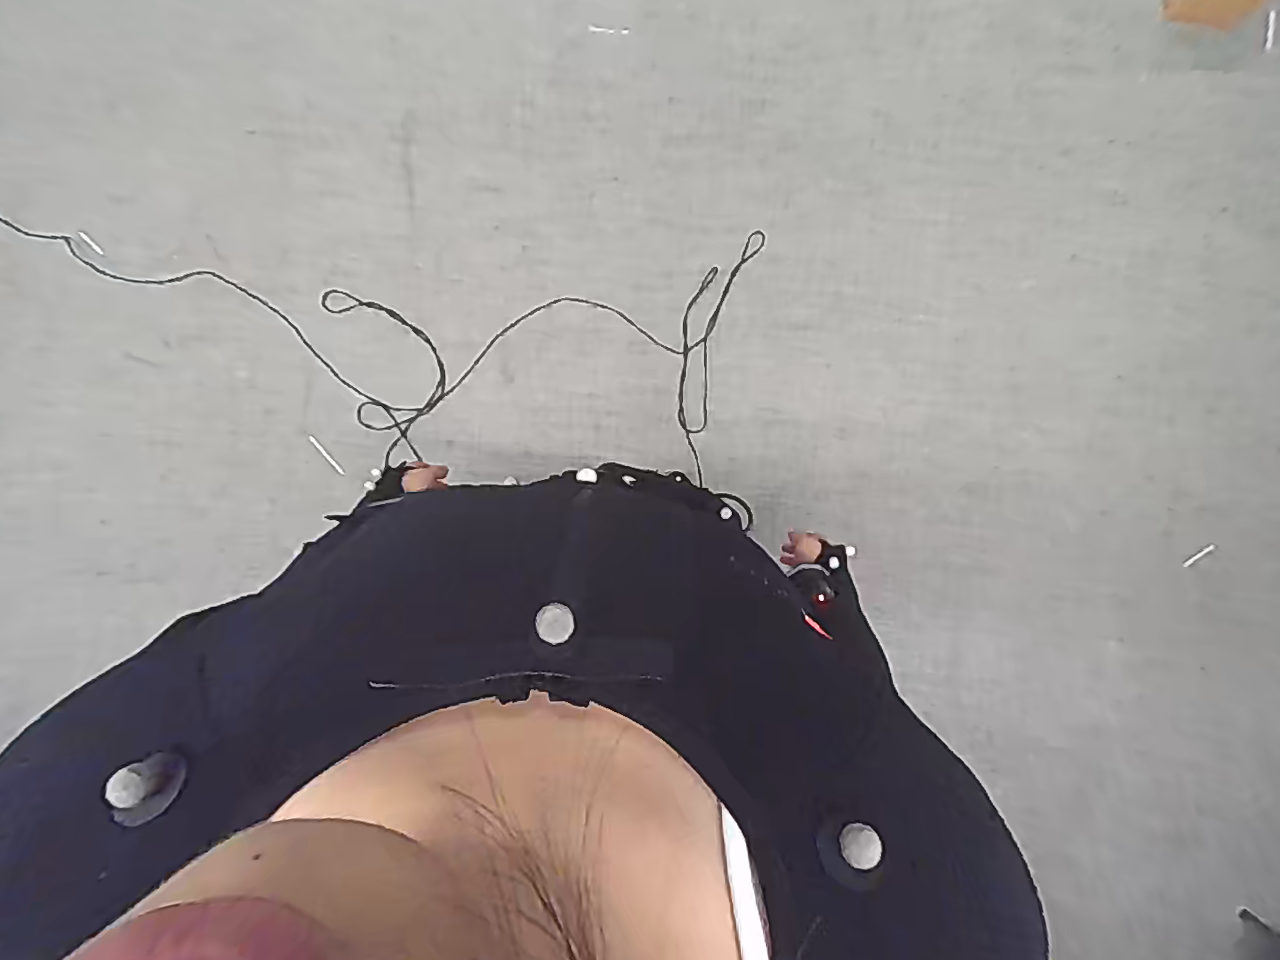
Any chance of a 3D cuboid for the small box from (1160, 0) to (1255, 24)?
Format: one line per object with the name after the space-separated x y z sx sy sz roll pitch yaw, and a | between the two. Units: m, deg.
1.478 -1.295 1.351 0.179 0.176 0.168 10 91 1 | small box
